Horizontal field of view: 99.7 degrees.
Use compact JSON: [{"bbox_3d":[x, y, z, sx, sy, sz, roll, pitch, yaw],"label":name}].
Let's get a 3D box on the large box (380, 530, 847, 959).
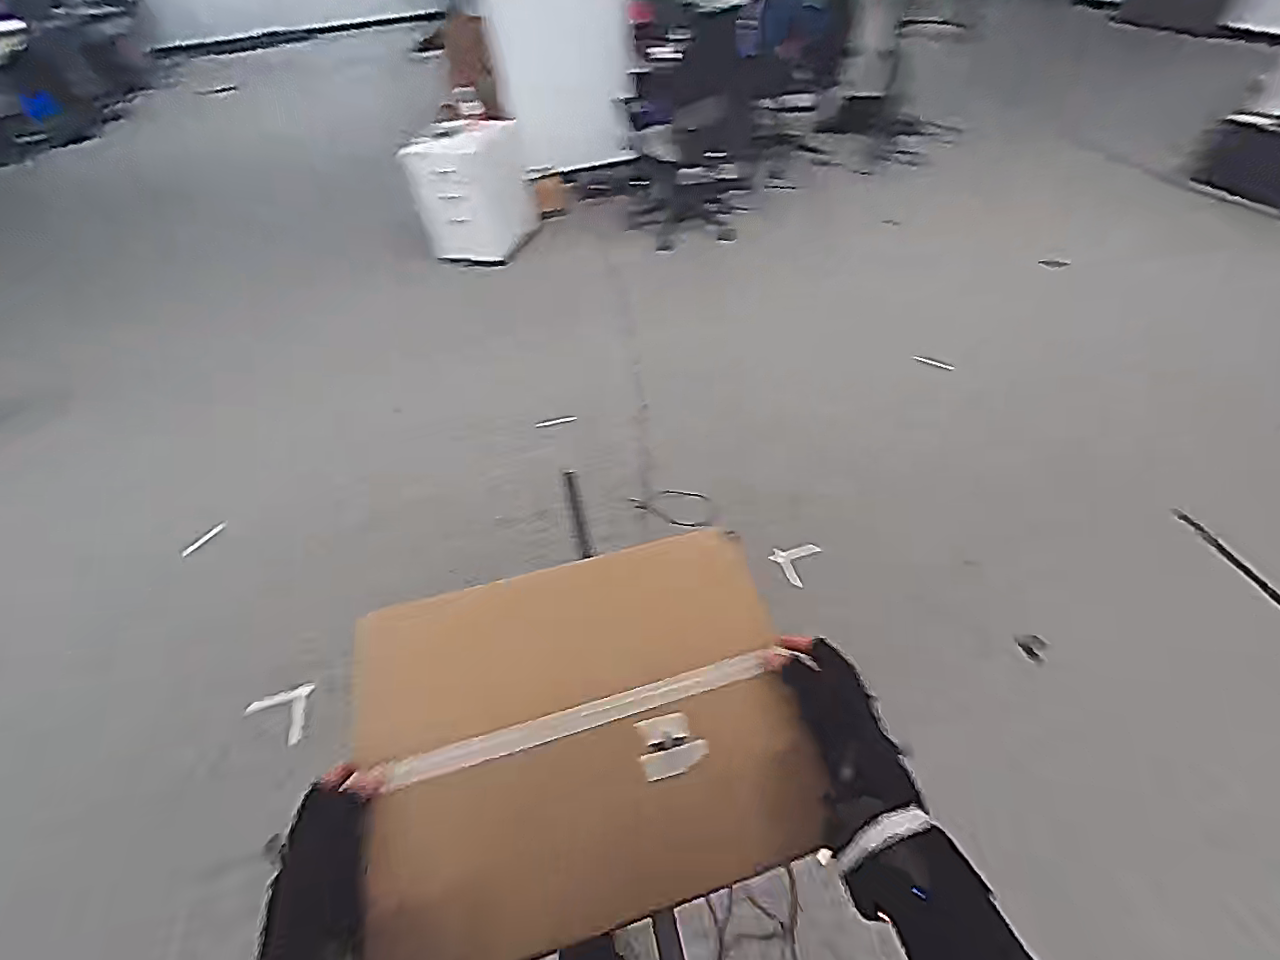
[{"bbox_3d":[-0.049,0.306,0.649,0.408,0.320,0.320,-12,58,-10],"label":"large box"}]
